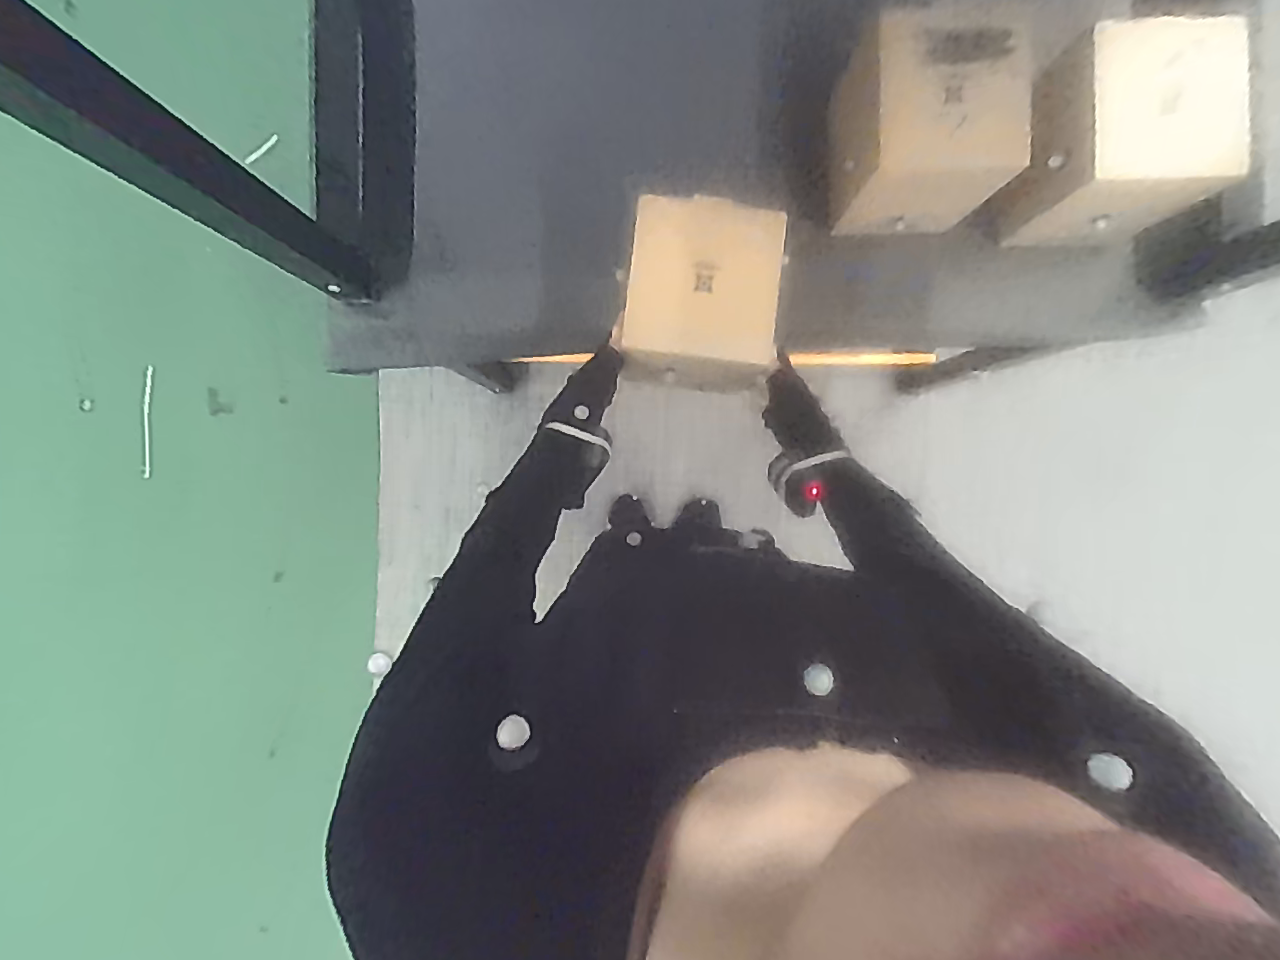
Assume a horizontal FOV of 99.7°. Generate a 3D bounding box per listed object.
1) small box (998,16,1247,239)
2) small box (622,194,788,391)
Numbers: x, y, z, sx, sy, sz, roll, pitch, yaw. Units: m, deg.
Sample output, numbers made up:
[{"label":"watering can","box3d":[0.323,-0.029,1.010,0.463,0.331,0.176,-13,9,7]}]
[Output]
[{"label":"small box","box3d":[0.574,-0.414,0.667,0.168,0.176,0.179,-1,89,1]},{"label":"small box","box3d":[0.071,-0.217,0.672,0.168,0.176,0.179,7,87,-1]}]
